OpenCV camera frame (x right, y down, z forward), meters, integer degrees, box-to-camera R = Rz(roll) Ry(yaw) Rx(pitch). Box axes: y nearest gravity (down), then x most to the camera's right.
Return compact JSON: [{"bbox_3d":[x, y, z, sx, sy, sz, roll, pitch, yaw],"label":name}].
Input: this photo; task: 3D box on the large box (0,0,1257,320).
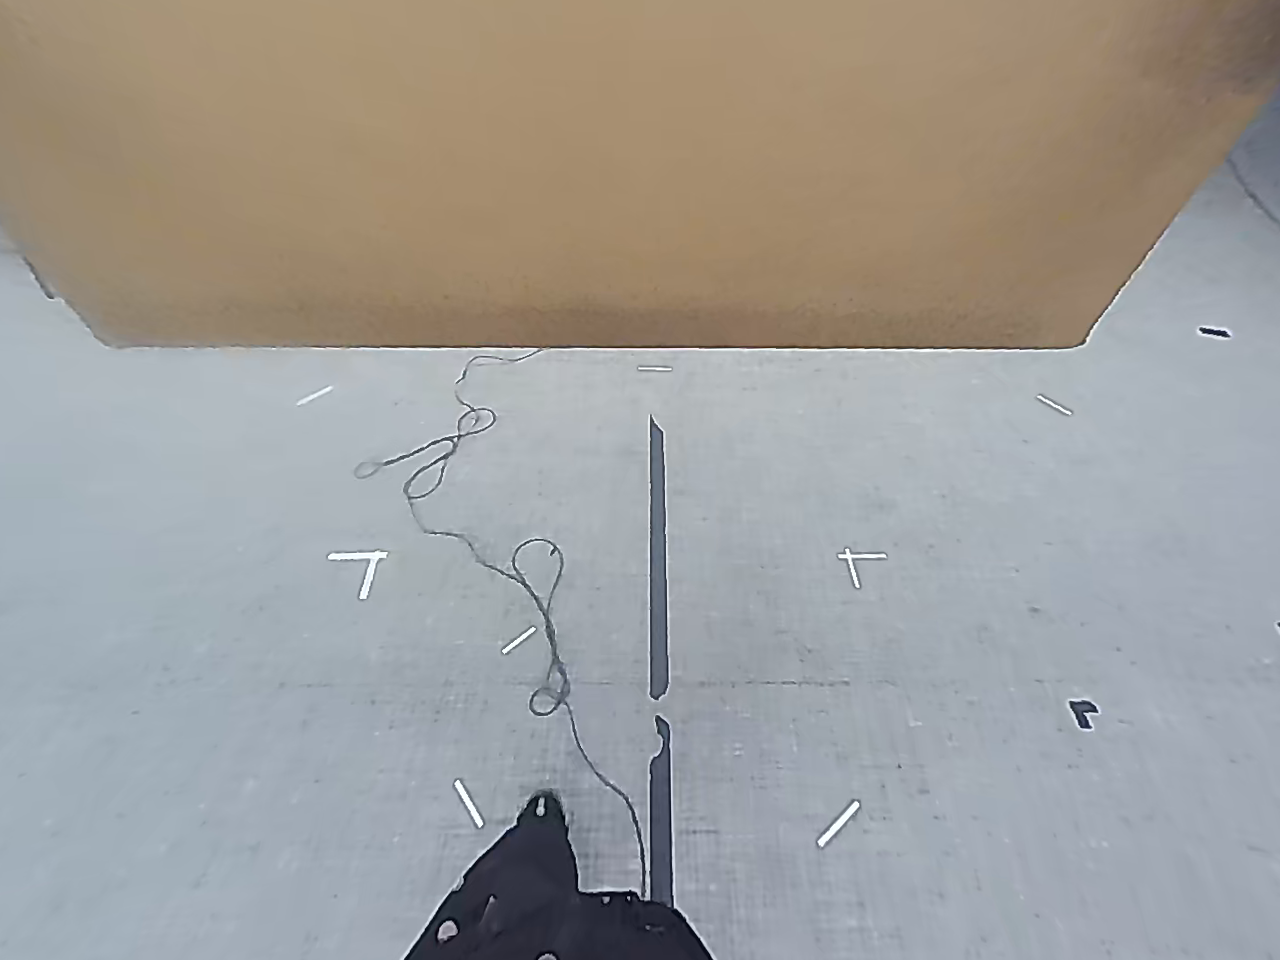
[{"bbox_3d":[-0.014,-0.279,0.221,0.408,0.320,0.320,0,49,-2],"label":"large box"}]
